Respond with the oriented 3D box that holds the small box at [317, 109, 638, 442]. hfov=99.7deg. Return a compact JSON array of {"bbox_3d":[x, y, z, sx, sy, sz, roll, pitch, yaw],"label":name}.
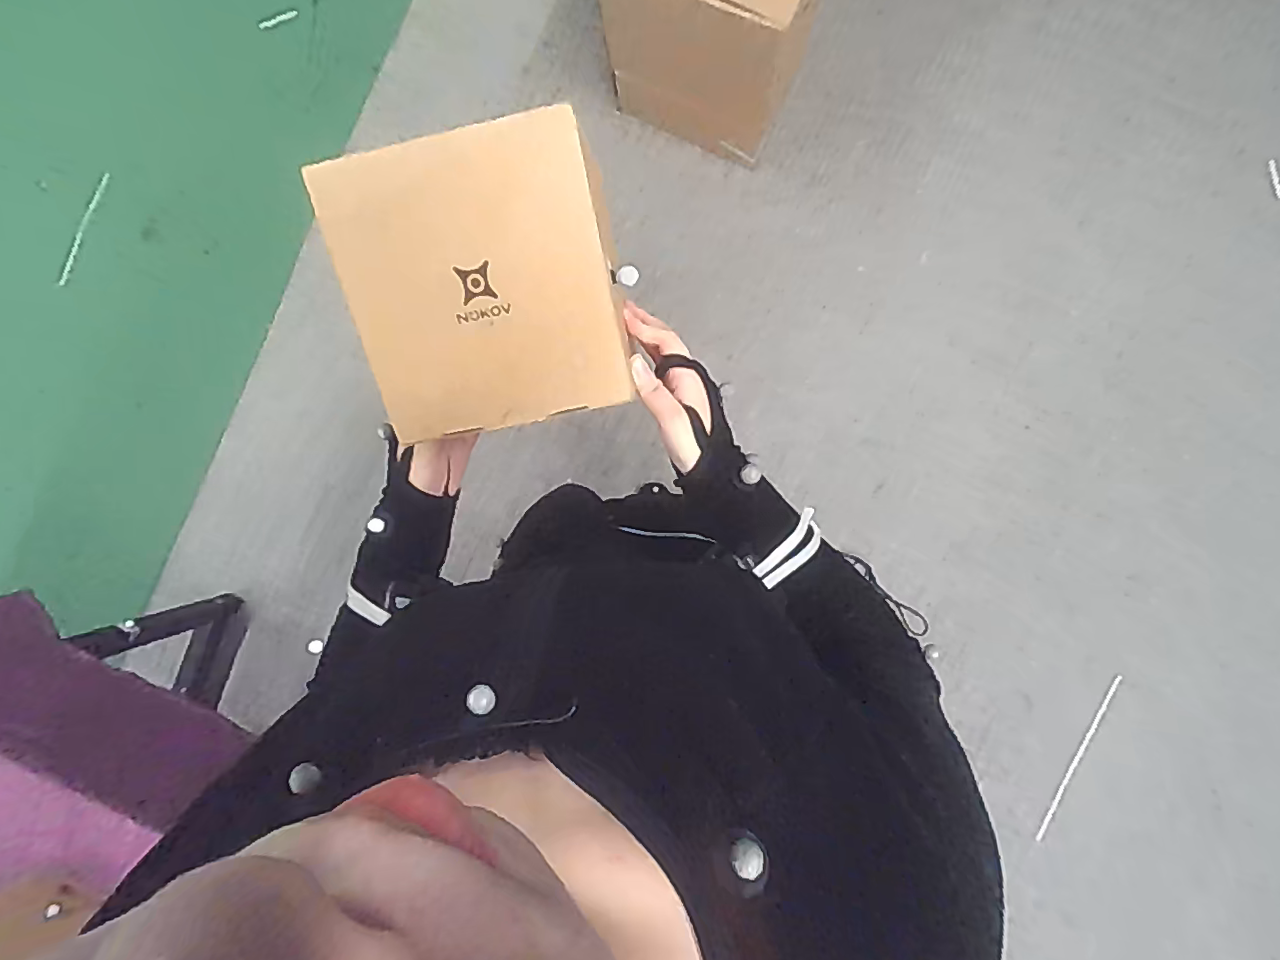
[{"bbox_3d":[-0.097,-0.146,0.417,0.168,0.176,0.179,-10,110,5],"label":"small box"}]
